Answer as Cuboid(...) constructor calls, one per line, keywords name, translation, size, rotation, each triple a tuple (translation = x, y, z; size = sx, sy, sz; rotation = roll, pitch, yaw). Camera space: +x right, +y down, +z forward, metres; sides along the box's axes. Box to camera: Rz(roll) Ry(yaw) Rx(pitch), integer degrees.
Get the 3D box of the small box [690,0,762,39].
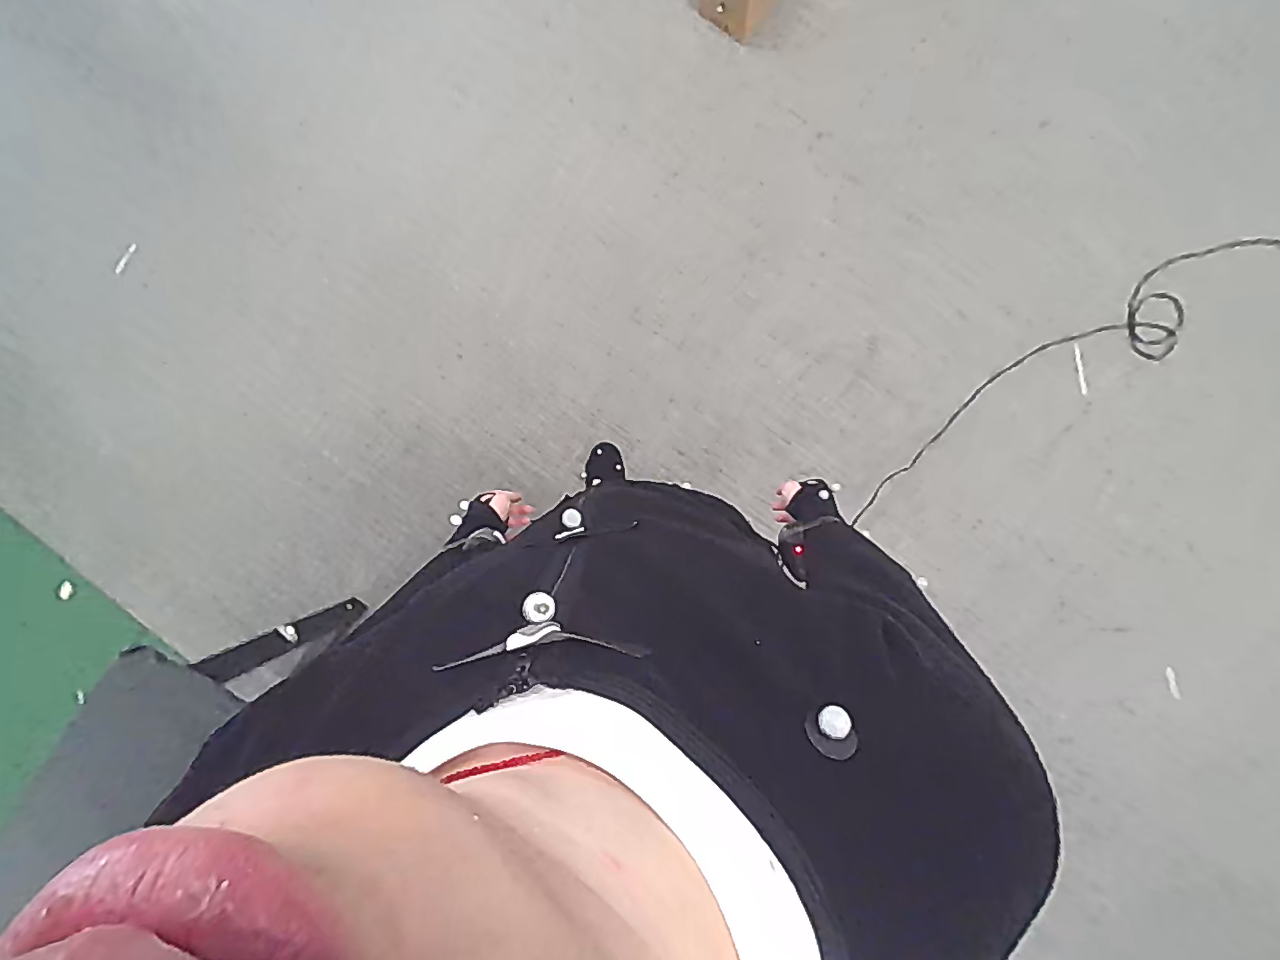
Cuboid(name="small box", translation=(0.242, -1.345, 1.440), size=(0.168, 0.176, 0.179), rotation=(35, 92, 2))
